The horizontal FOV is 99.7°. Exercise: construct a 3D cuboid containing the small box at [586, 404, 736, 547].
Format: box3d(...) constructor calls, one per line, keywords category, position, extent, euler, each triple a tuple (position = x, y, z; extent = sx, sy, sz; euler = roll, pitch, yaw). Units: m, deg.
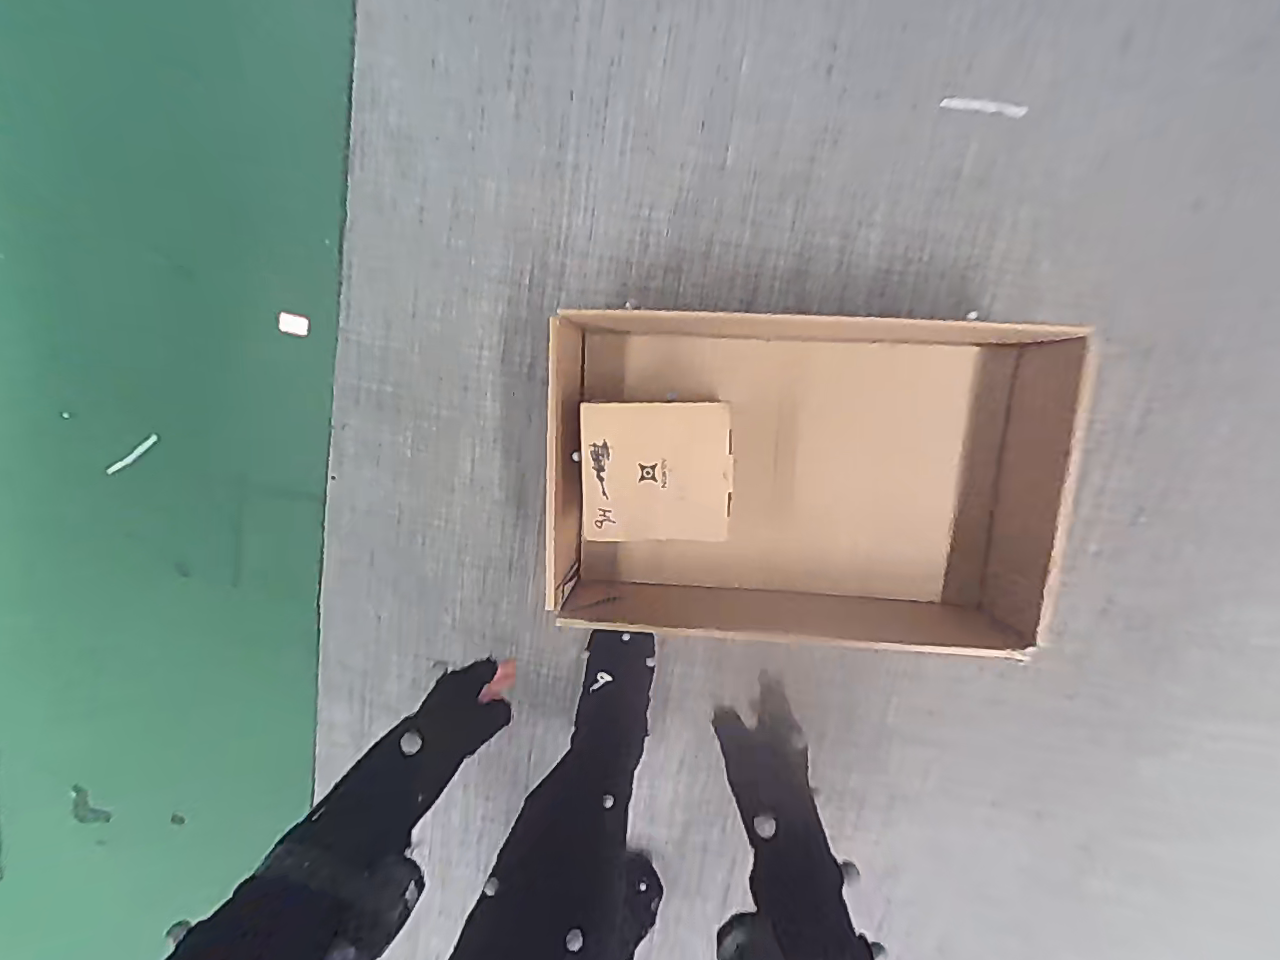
box3d(category="small box", position=(0.027, -0.015, 0.712), extent=(0.179, 0.176, 0.168), euler=(0, 99, 3))
